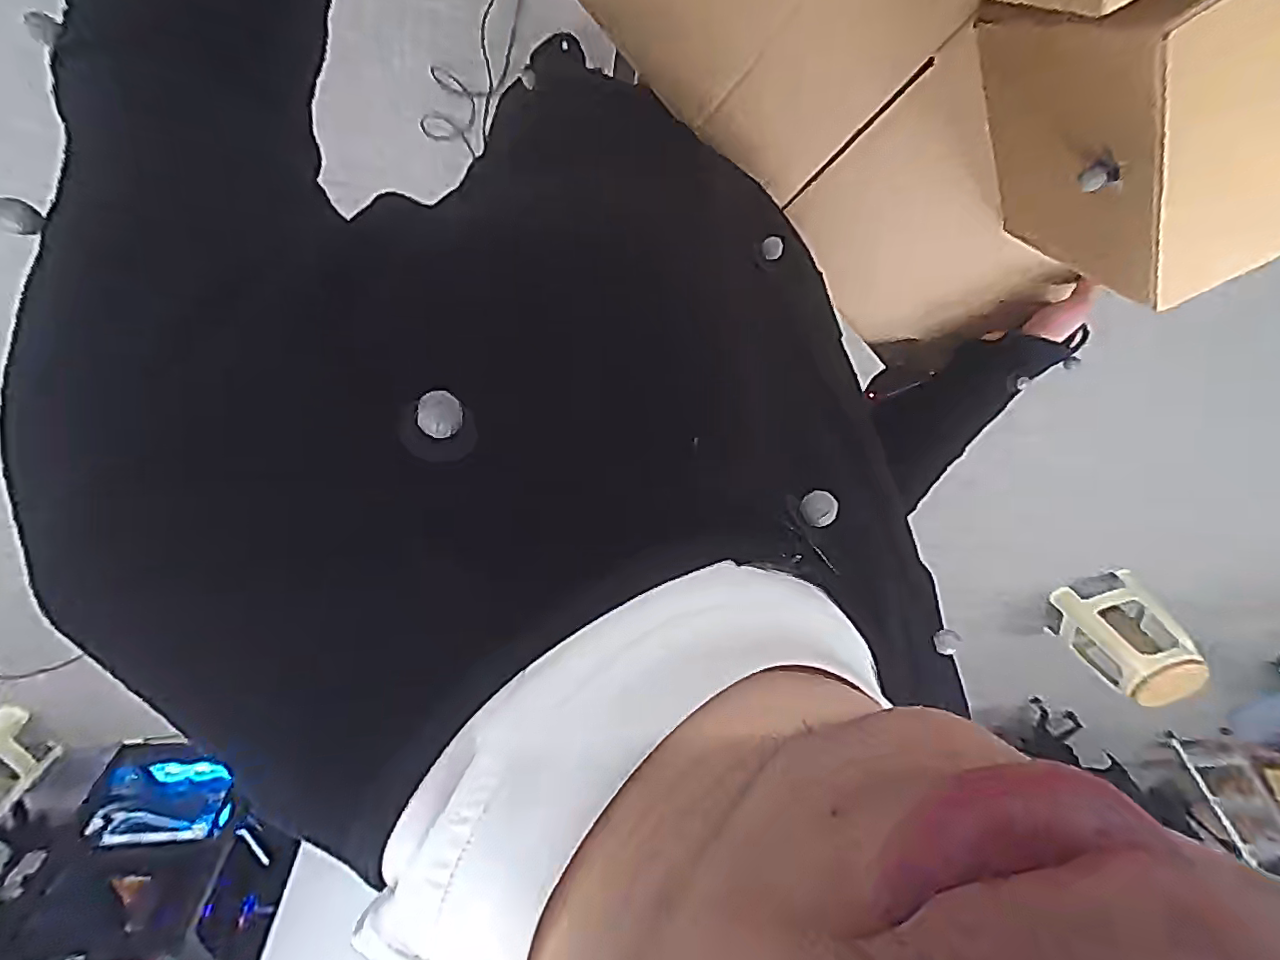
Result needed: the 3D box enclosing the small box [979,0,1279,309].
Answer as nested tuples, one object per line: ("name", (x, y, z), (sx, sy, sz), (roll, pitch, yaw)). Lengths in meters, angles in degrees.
("small box", (0.363, -0.257, 0.361), (0.168, 0.176, 0.179), (-28, 128, 18))
